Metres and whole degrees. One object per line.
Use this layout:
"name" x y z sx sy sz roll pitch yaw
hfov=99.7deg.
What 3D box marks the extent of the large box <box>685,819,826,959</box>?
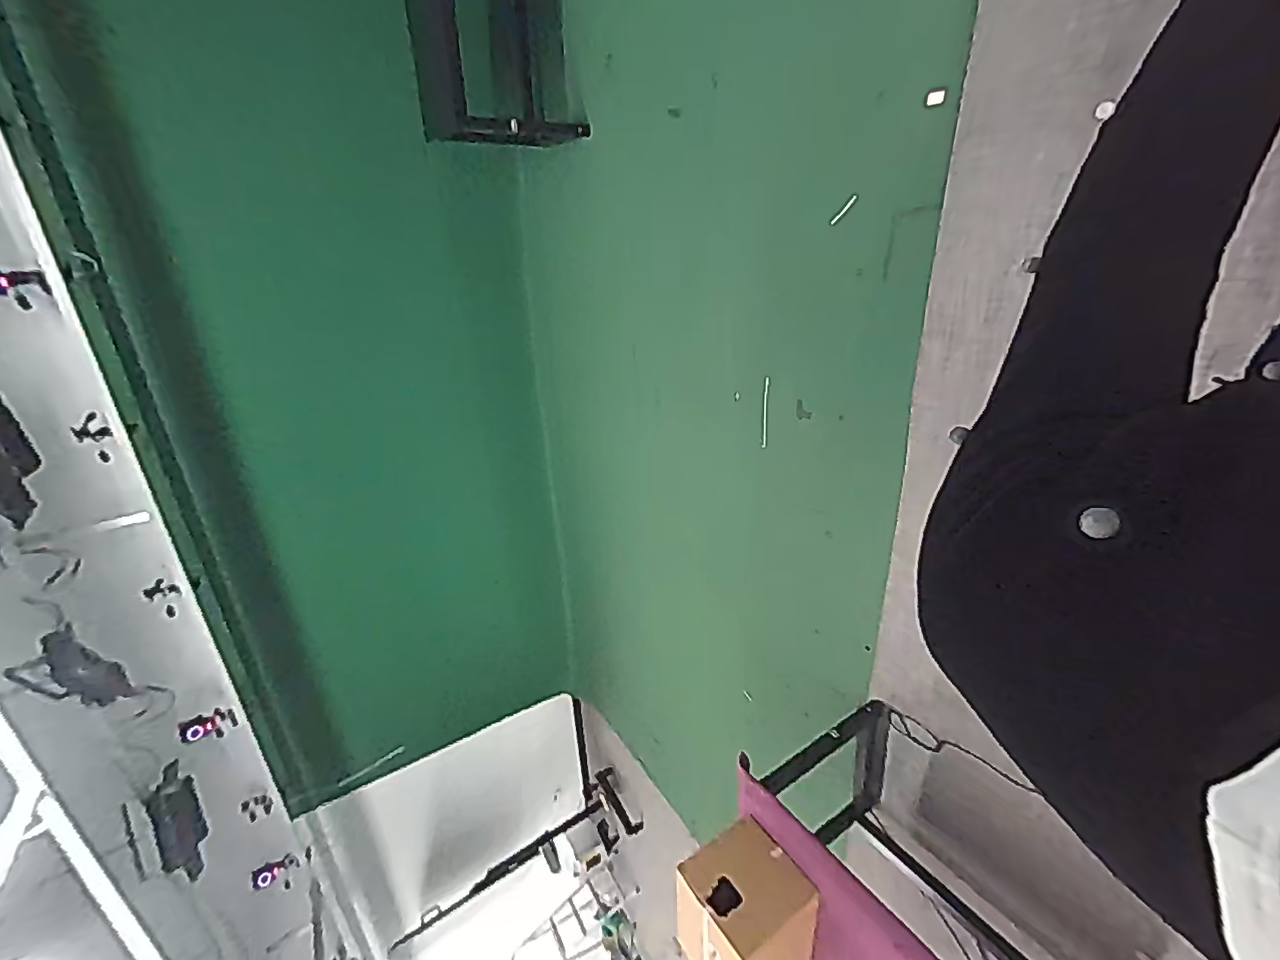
"large box" 0.356 1.401 1.708 0.320 0.320 0.408 27 126 51
